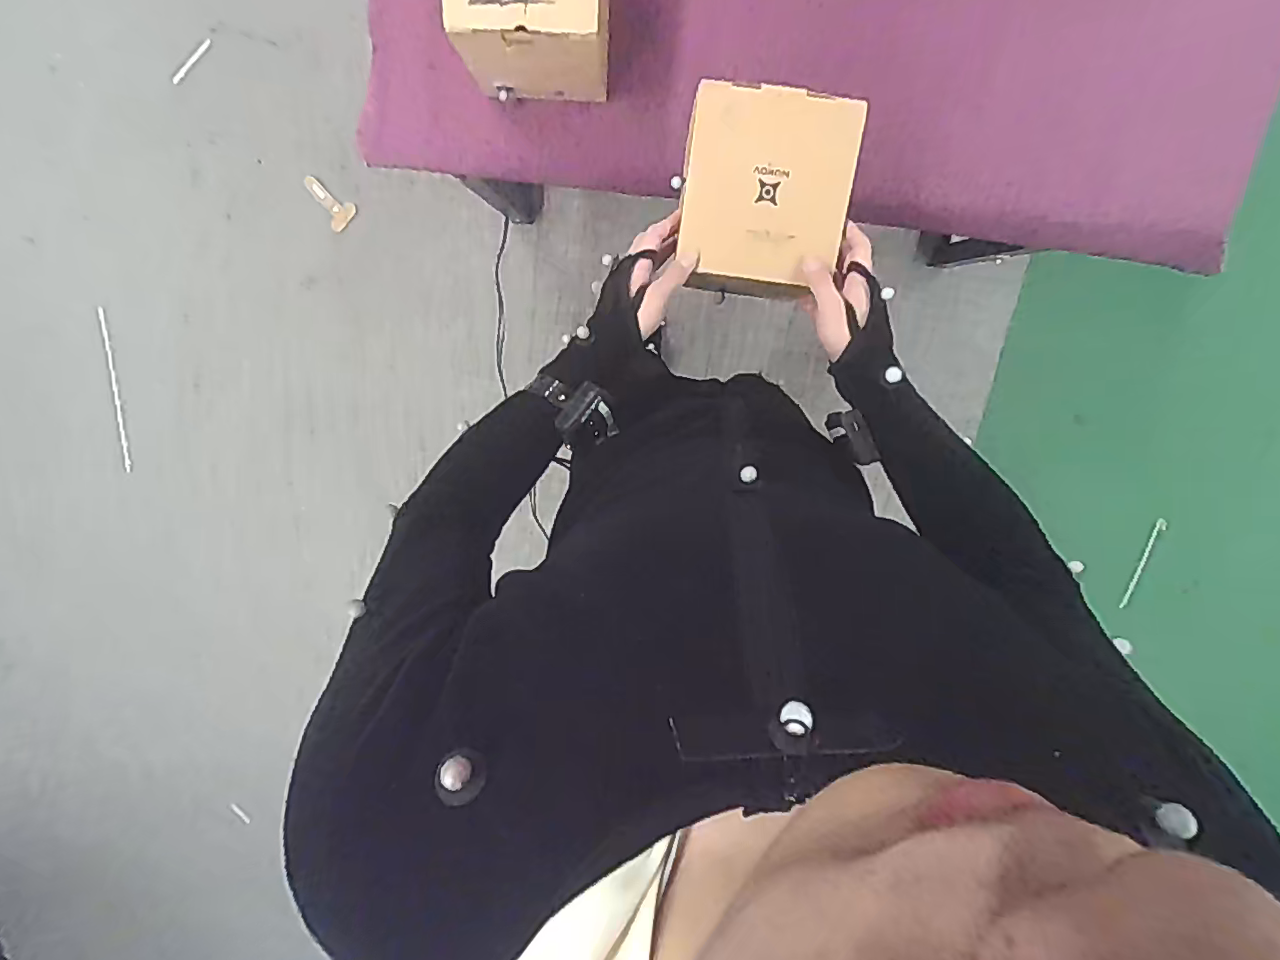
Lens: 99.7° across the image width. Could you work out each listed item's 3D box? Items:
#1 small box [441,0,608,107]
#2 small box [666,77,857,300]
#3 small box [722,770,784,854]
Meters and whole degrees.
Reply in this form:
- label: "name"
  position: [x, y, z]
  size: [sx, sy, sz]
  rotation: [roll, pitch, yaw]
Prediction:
- label: "small box"
  position: [-0.125, -0.572, 0.638]
  size: [0.168, 0.176, 0.179]
  rotation: [3, 104, 0]
- label: "small box"
  position: [0.122, -0.314, 0.620]
  size: [0.168, 0.176, 0.179]
  rotation: [8, 104, 0]
- label: "small box"
  position: [0.387, 1.155, 1.886]
  size: [0.168, 0.176, 0.179]
  rotation: [8, 108, -2]
